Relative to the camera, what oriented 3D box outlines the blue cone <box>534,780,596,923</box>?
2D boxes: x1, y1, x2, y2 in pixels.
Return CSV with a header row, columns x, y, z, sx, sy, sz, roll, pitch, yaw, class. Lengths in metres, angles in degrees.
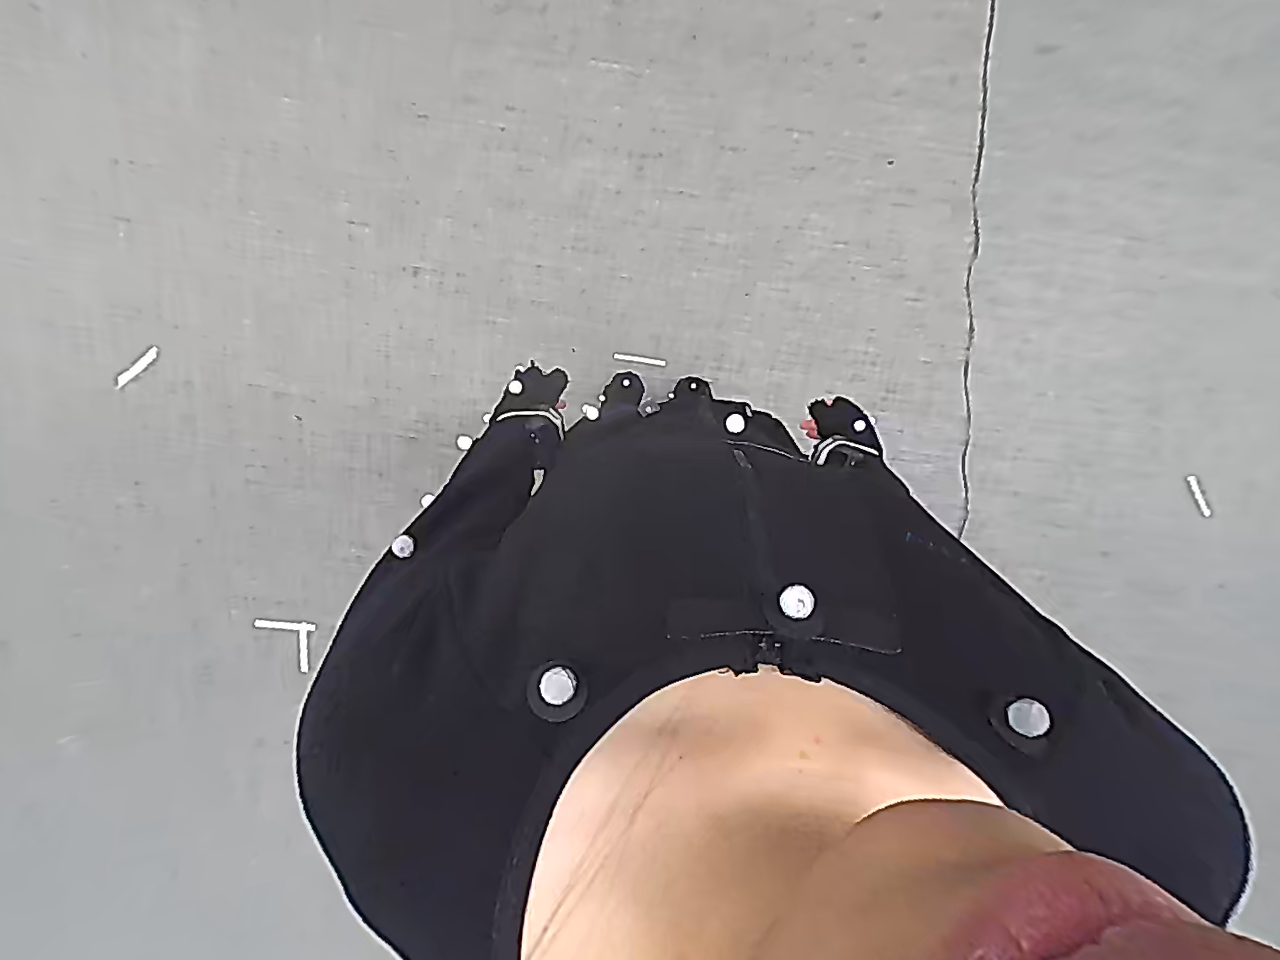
x,y,z,sx,sy,sz,roll,pitch,yaw,class
-0.234,1.047,1.517,0.192,0.380,0.193,4,100,-1,blue cone
